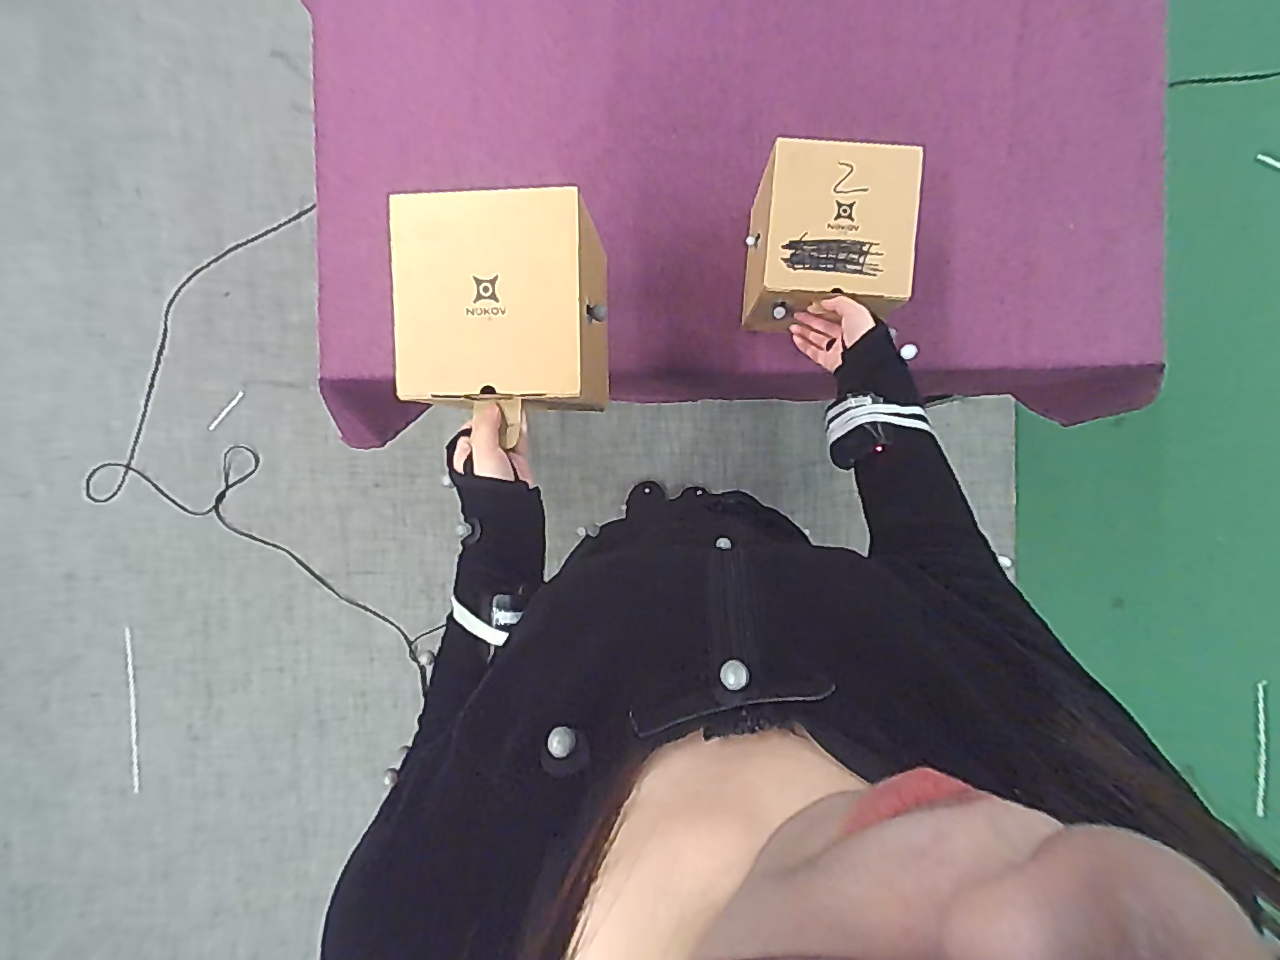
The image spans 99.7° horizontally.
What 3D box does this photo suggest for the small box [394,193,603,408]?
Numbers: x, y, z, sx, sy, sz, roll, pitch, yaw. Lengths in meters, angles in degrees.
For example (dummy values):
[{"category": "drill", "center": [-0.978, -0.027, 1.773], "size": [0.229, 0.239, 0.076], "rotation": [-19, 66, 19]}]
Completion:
[{"category": "small box", "center": [-0.131, -0.168, 0.557], "size": [0.168, 0.176, 0.179], "rotation": [0, 95, 4]}]
